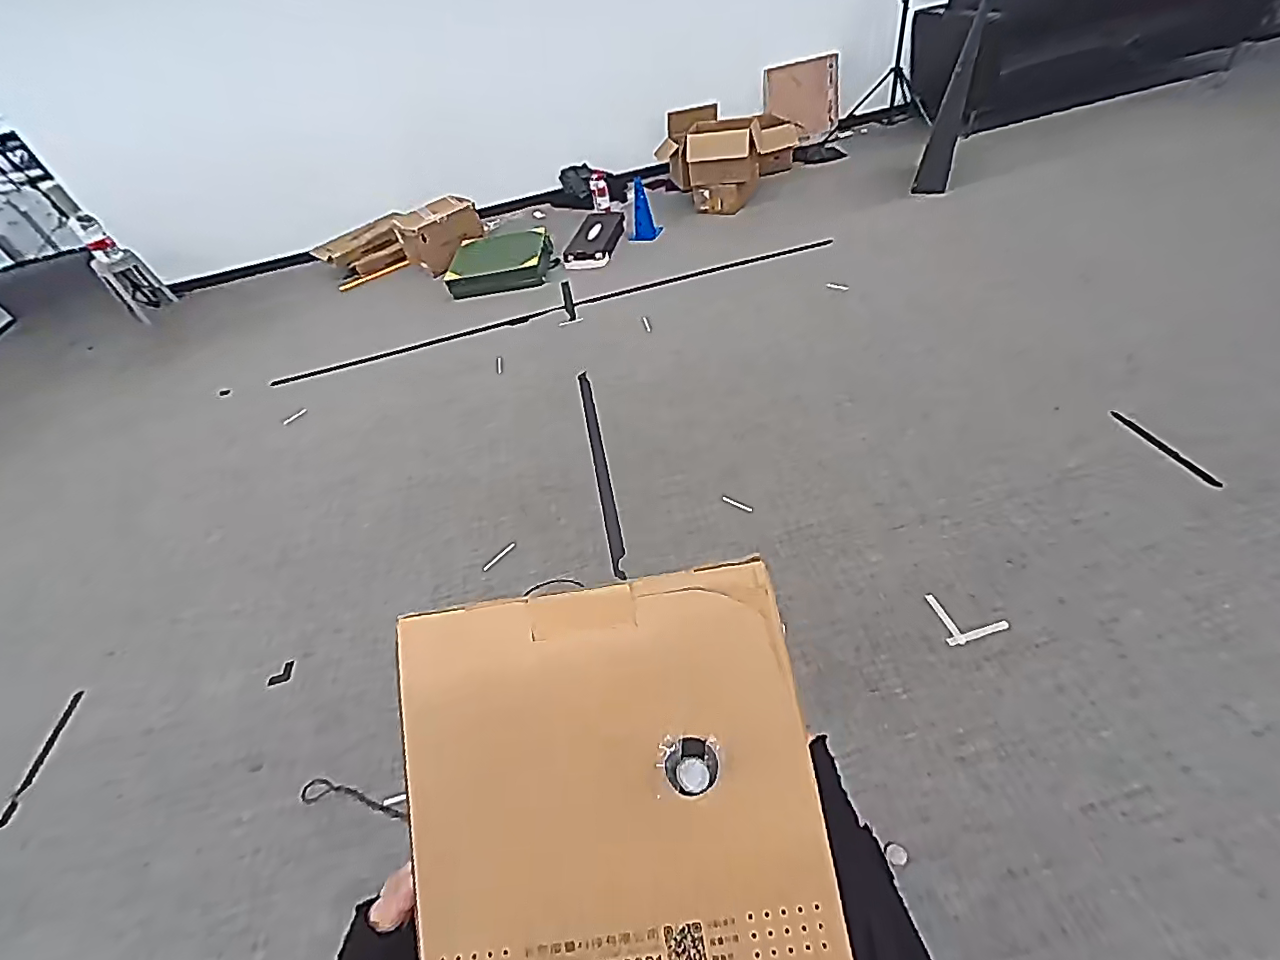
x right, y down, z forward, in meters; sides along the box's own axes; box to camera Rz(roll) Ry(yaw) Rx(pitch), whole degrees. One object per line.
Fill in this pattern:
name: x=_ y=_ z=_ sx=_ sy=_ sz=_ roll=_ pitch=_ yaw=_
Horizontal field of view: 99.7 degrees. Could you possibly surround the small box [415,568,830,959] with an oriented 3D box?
small box: x=-0.004 y=0.151 z=0.315 sx=0.168 sy=0.179 sz=0.176 roll=-10 pitch=79 yaw=3
